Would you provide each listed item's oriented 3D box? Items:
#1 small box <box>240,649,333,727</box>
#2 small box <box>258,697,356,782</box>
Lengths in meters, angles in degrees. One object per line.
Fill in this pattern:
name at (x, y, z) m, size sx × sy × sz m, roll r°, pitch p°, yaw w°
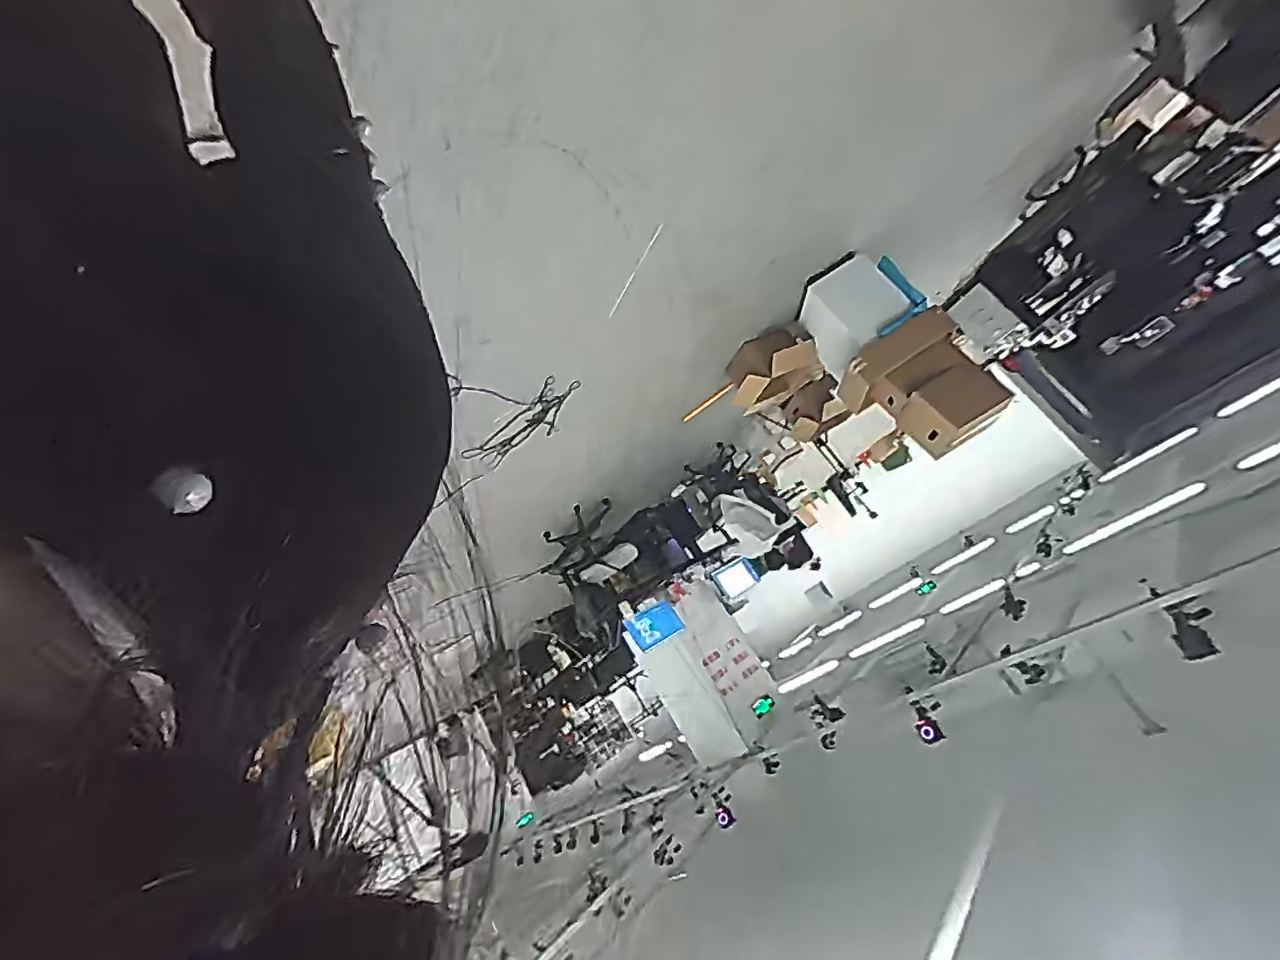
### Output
small box at (-1.118, 0.660, 1.714) m, size 0.179 × 0.176 × 0.168 m, roll -27°, pitch 162°, yaw -23°
small box at (-1.021, 0.782, 1.658) m, size 0.179 × 0.176 × 0.168 m, roll -29°, pitch 163°, yaw -11°
